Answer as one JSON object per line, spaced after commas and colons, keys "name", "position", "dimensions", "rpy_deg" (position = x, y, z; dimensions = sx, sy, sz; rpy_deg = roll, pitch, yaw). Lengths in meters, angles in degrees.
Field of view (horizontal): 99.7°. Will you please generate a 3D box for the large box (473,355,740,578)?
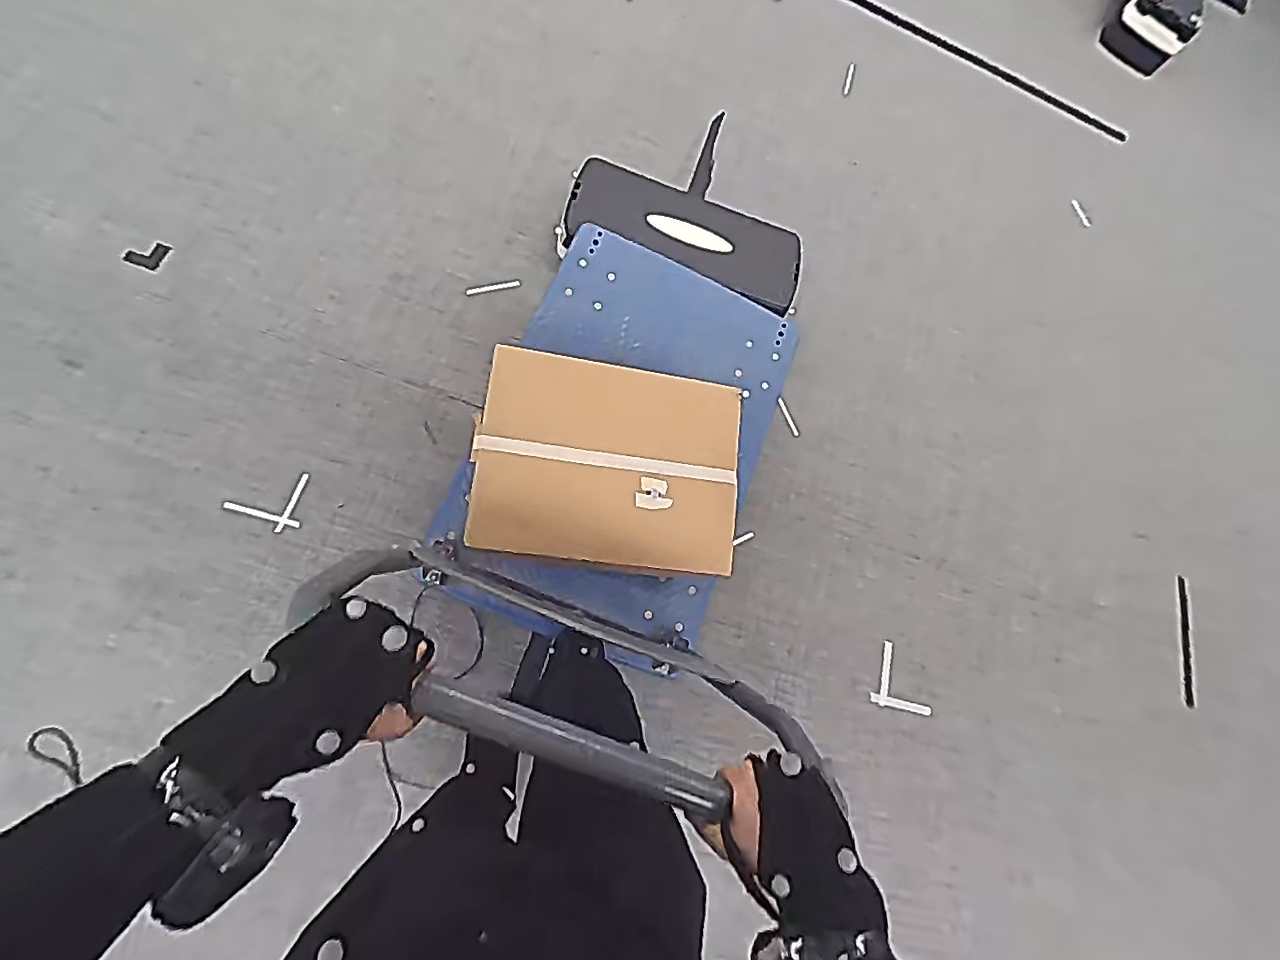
{"name": "large box", "position": [-0.071, 0.005, 0.981], "dimensions": [0.408, 0.320, 0.320], "rpy_deg": [8, 79, -12]}
